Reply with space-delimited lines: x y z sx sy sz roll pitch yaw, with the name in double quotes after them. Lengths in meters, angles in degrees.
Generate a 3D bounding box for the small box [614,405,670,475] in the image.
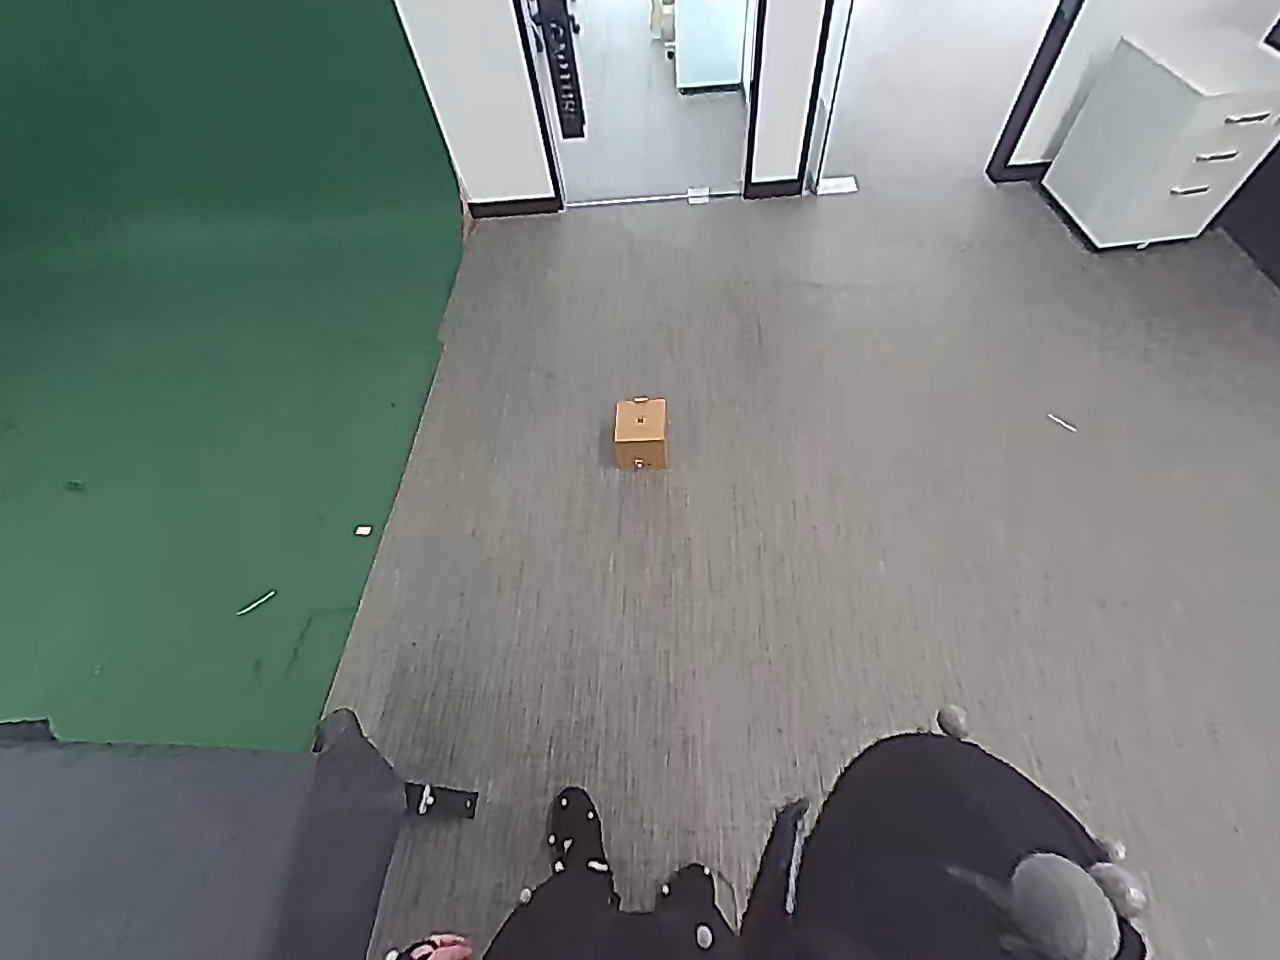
0.011 -0.137 1.836 0.168 0.176 0.179 0 56 8 "small box"
